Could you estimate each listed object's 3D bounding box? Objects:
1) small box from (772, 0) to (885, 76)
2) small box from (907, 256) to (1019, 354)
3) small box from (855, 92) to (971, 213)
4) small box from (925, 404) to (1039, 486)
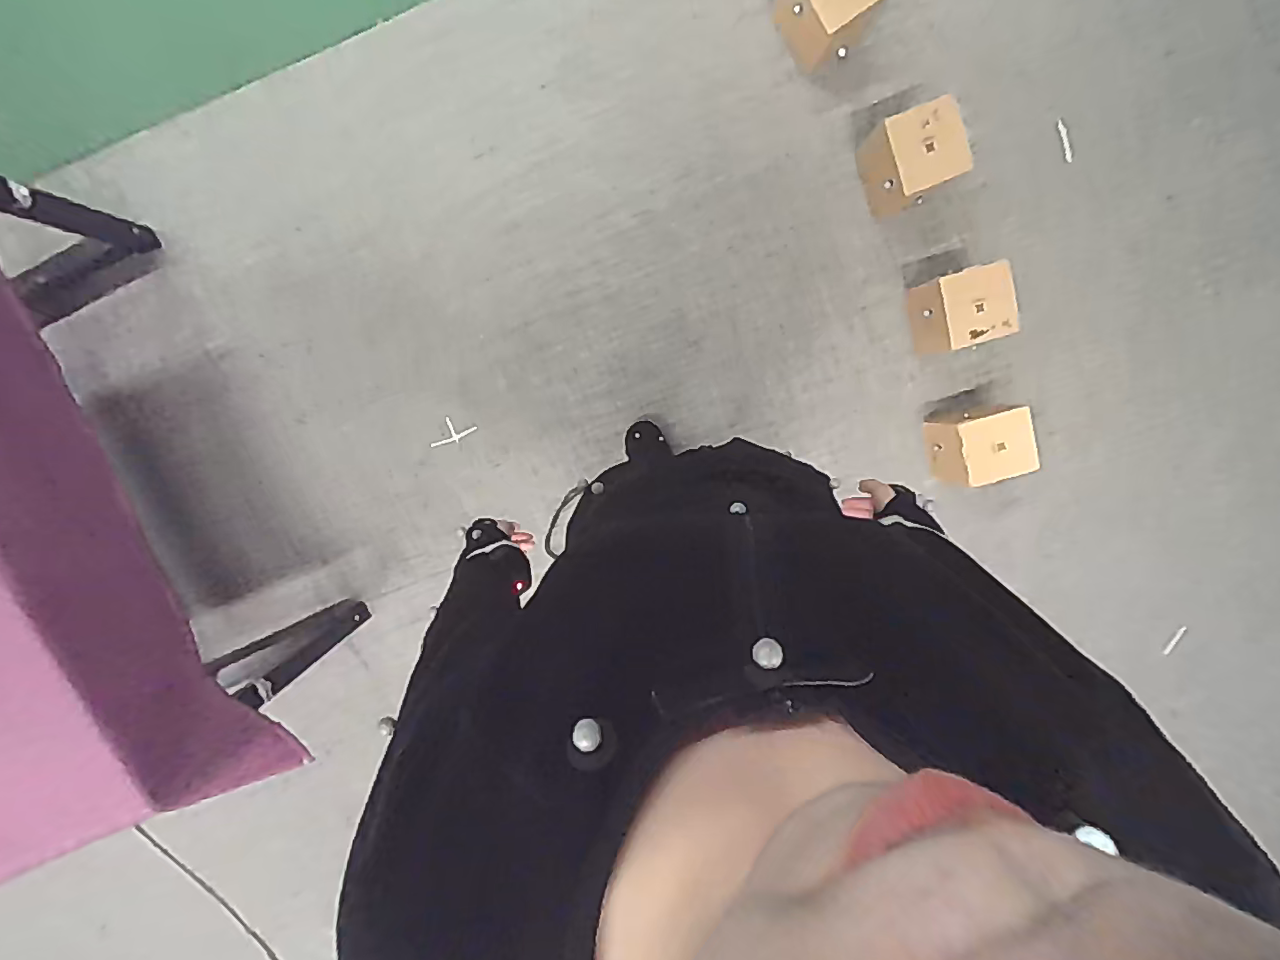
[{"bbox_3d":[0.429,-1.098,1.247,0.168,0.176,0.179,-33,97,5],"label":"small box"},{"bbox_3d":[0.791,-0.426,1.343,0.168,0.176,0.179,-16,97,3],"label":"small box"},{"bbox_3d":[0.645,-0.767,1.294,0.168,0.176,0.179,-21,98,3],"label":"small box"},{"bbox_3d":[0.873,-0.097,1.392,0.179,0.176,0.168,-16,98,3],"label":"small box"}]
